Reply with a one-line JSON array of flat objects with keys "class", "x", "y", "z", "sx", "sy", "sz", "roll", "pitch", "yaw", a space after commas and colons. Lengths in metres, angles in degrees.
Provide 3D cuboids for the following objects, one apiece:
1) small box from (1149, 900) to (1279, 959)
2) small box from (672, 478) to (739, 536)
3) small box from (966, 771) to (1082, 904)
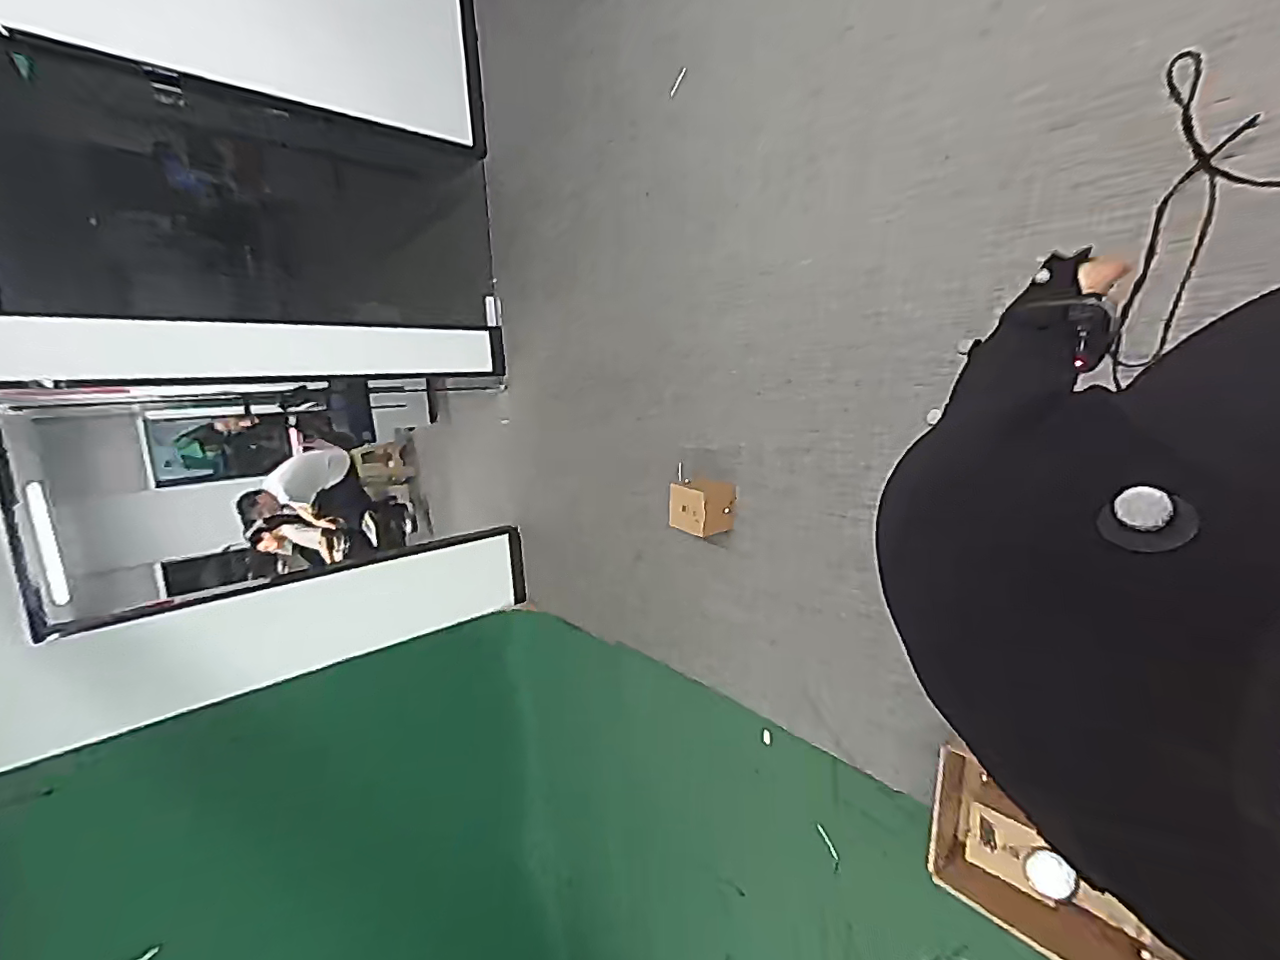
[{"class": "small box", "x": 0.991, "y": 0.889, "z": 0.929, "sx": 0.168, "sy": 0.176, "sz": 0.179, "roll": 14, "pitch": 108, "yaw": 48}, {"class": "small box", "x": 0.240, "y": 0.092, "z": 1.997, "sx": 0.179, "sy": 0.176, "sz": 0.168, "roll": 17, "pitch": 111, "yaw": 47}, {"class": "small box", "x": 0.905, "y": 0.826, "z": 1.276, "sx": 0.179, "sy": 0.176, "sz": 0.168, "roll": 11, "pitch": 106, "yaw": 48}]
